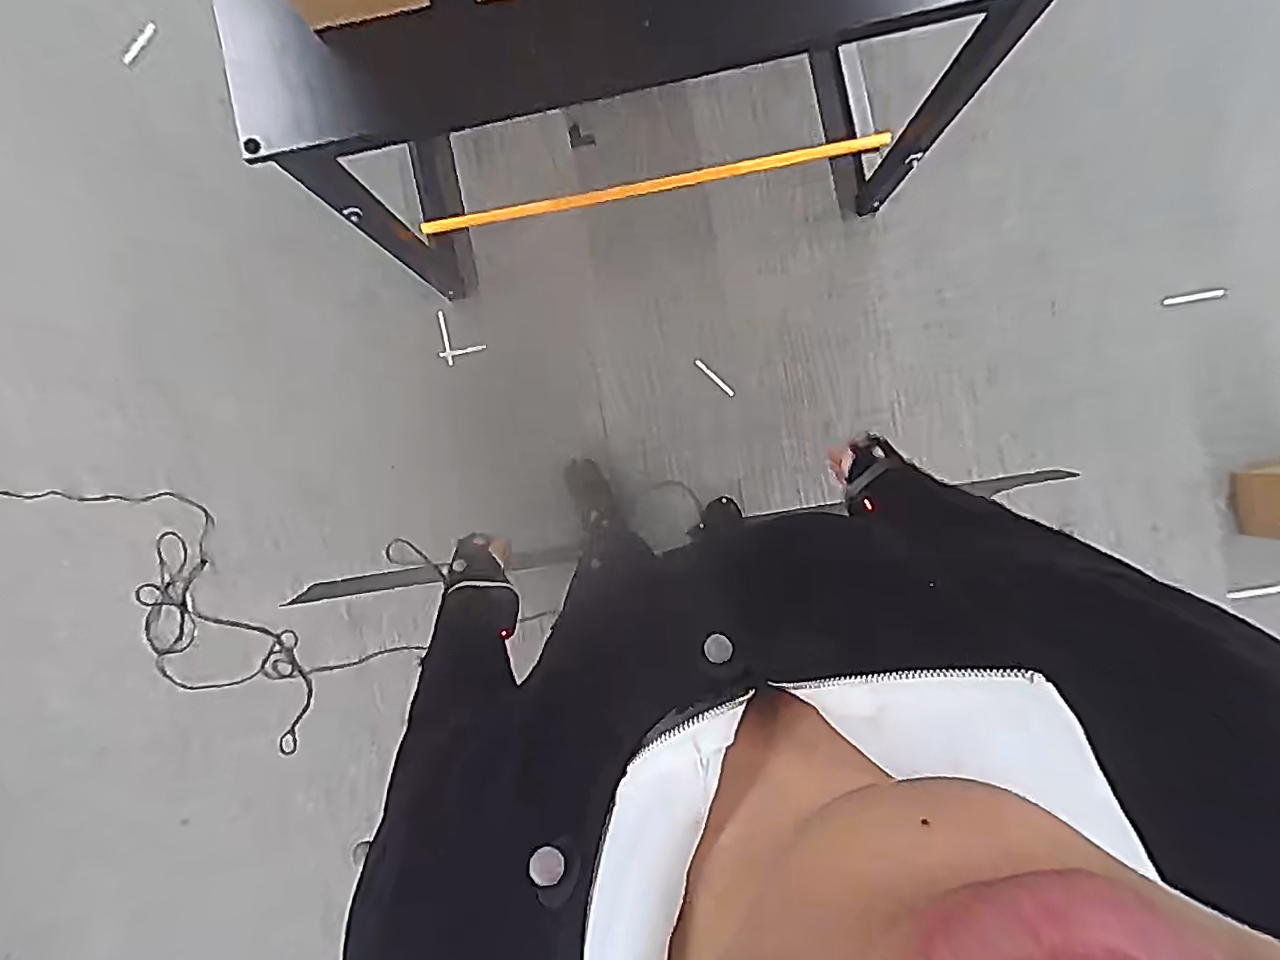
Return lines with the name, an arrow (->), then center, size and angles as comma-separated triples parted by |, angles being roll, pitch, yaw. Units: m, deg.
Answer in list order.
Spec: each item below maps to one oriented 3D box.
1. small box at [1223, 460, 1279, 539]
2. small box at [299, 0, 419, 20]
small box -> 1.647, 0.048, 1.365 | 0.168, 0.176, 0.179 | -11, 92, 2
small box -> -0.393, -0.734, 0.681 | 0.179, 0.176, 0.168 | -10, 91, 1
